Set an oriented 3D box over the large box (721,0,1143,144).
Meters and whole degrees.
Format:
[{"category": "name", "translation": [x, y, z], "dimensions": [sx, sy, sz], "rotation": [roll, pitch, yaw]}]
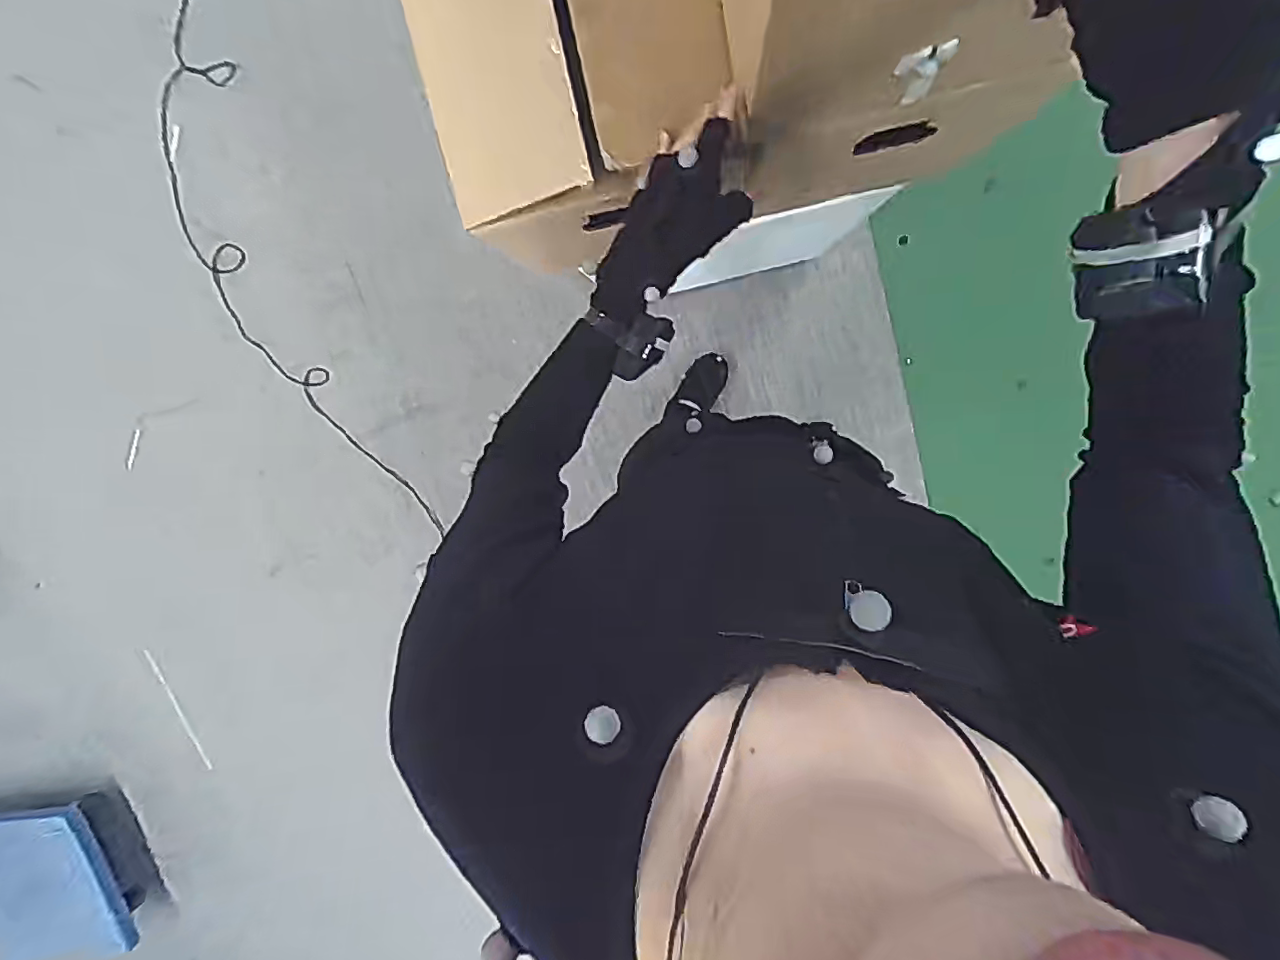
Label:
[{"category": "large box", "translation": [0.183, -0.508, 0.318], "dimensions": [0.320, 0.320, 0.408], "rotation": [-10, 99, 10]}]
